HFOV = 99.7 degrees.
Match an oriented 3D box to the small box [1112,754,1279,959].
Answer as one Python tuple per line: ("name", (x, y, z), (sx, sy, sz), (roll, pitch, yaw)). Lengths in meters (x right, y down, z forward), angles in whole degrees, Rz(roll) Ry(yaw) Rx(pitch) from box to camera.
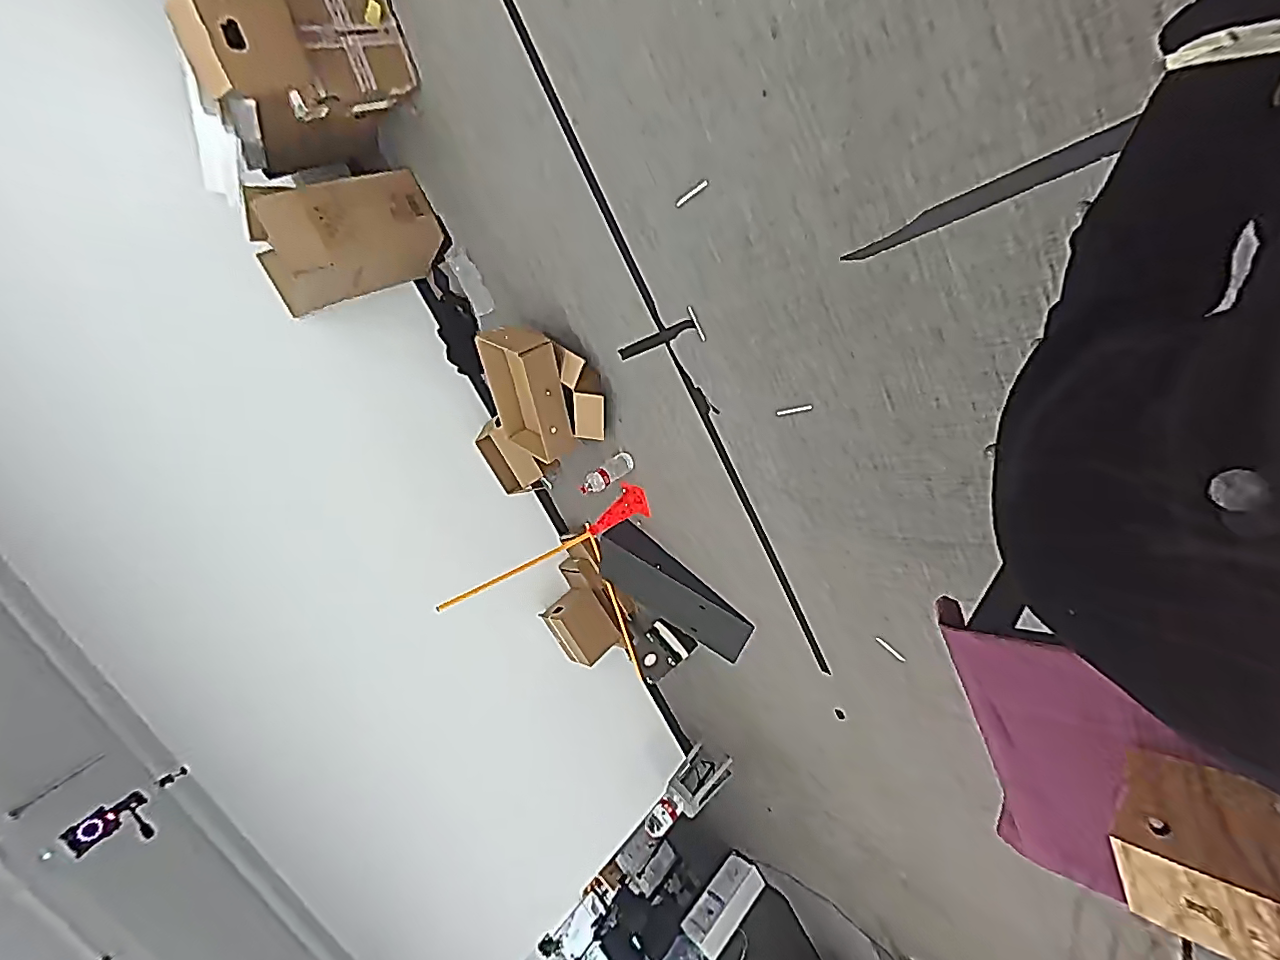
("small box", (0.793, 0.516, 0.742), (0.179, 0.176, 0.168), (-4, 118, 54))
